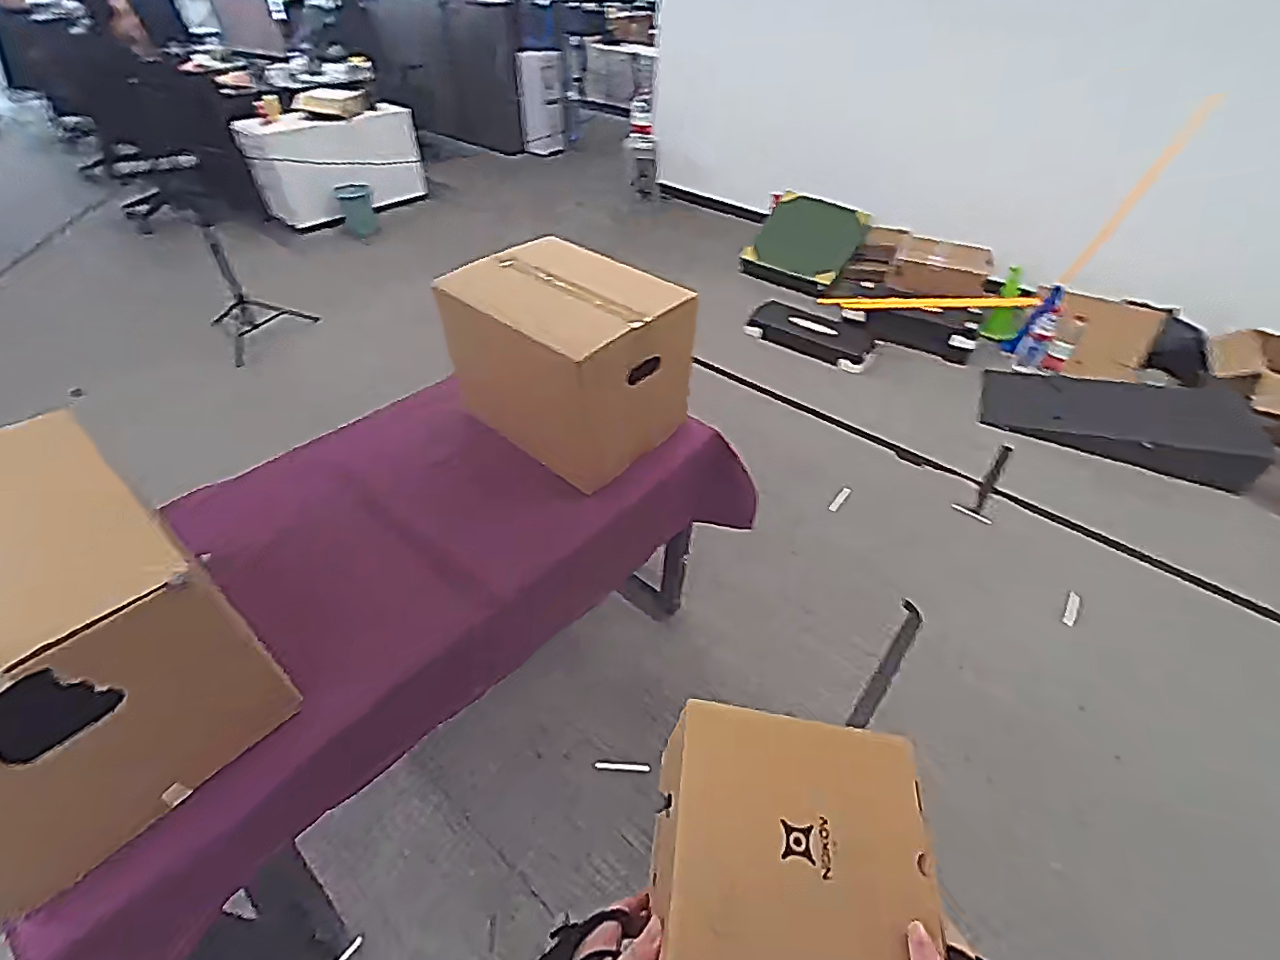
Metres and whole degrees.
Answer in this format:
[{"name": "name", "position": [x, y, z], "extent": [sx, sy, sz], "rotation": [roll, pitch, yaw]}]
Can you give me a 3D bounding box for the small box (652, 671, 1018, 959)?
[{"name": "small box", "position": [0.121, 0.275, 0.391], "extent": [0.168, 0.176, 0.179], "rotation": [21, 29, -14]}]
